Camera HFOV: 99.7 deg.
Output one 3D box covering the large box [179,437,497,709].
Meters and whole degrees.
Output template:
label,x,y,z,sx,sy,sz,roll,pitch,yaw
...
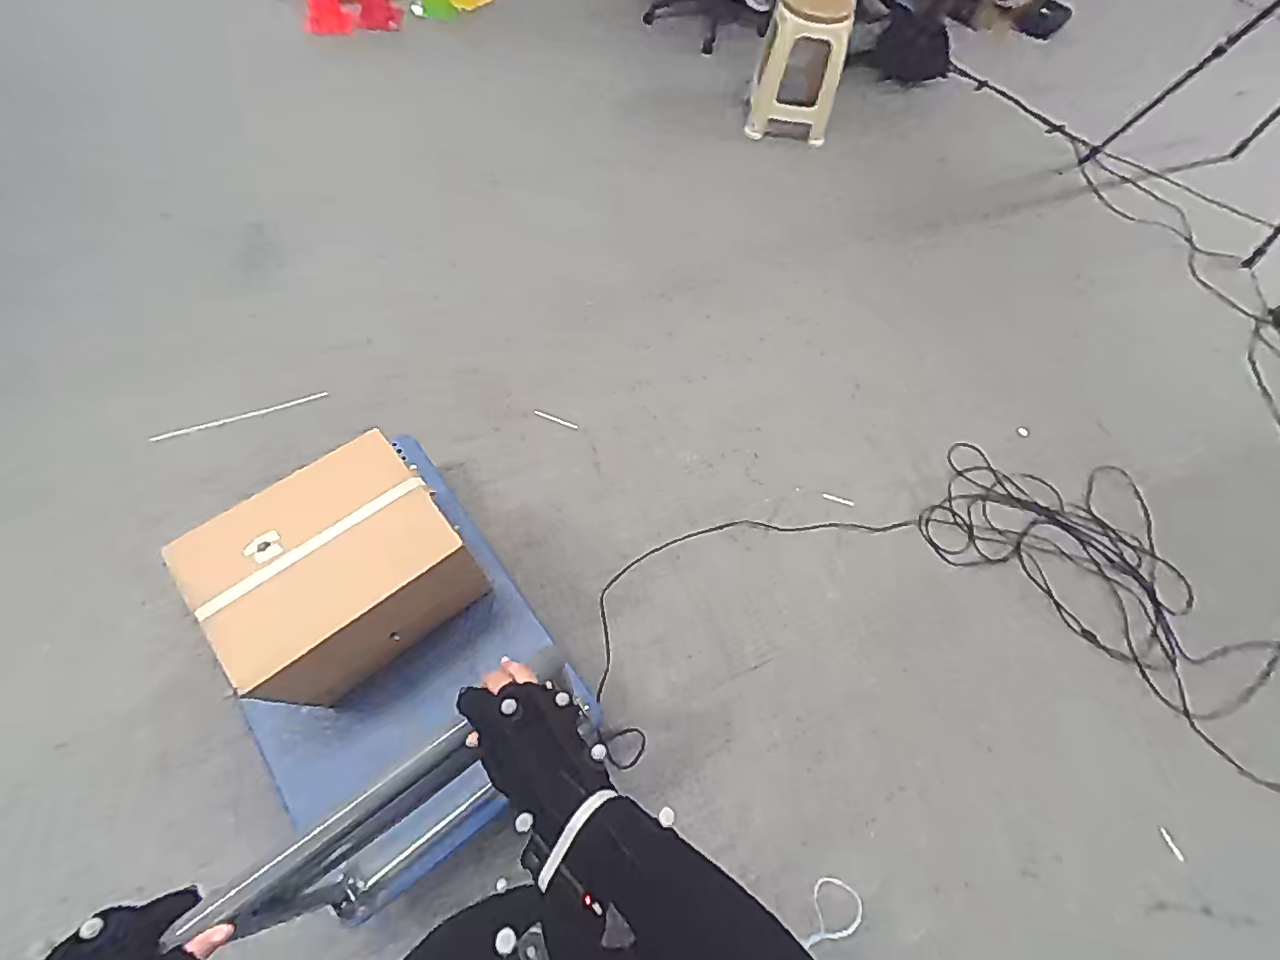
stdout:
label,x,y,z,sx,sy,sz,roll,pitch,yaw
large box,-0.559,0.194,1.087,0.408,0.320,0.320,-37,72,-19
